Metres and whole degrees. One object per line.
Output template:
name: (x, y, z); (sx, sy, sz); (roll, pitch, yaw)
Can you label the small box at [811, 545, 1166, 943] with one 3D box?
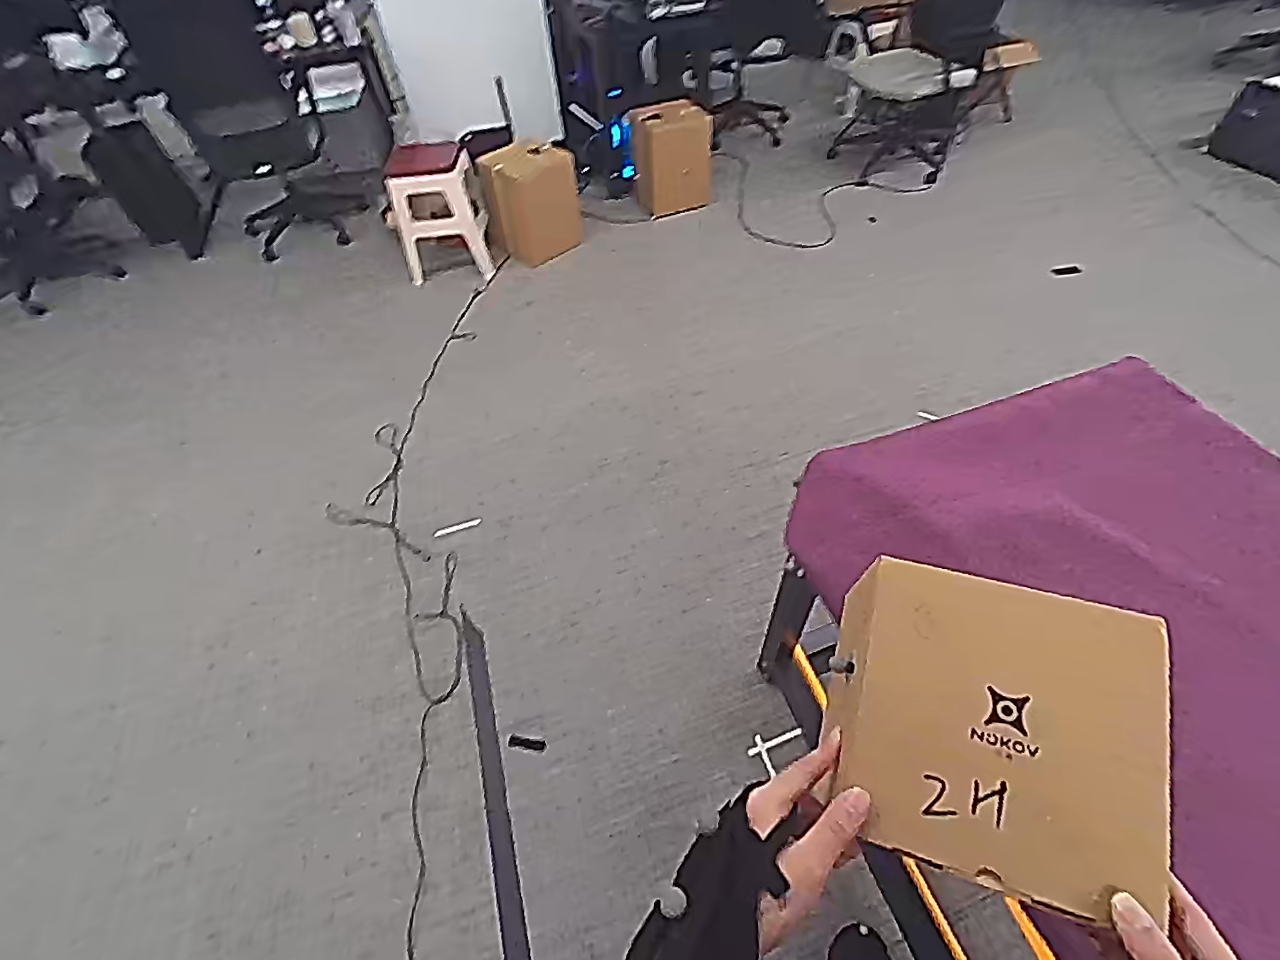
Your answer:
small box: (0.226, 0.167, 0.392); (0.168, 0.176, 0.179); (12, 72, 17)
